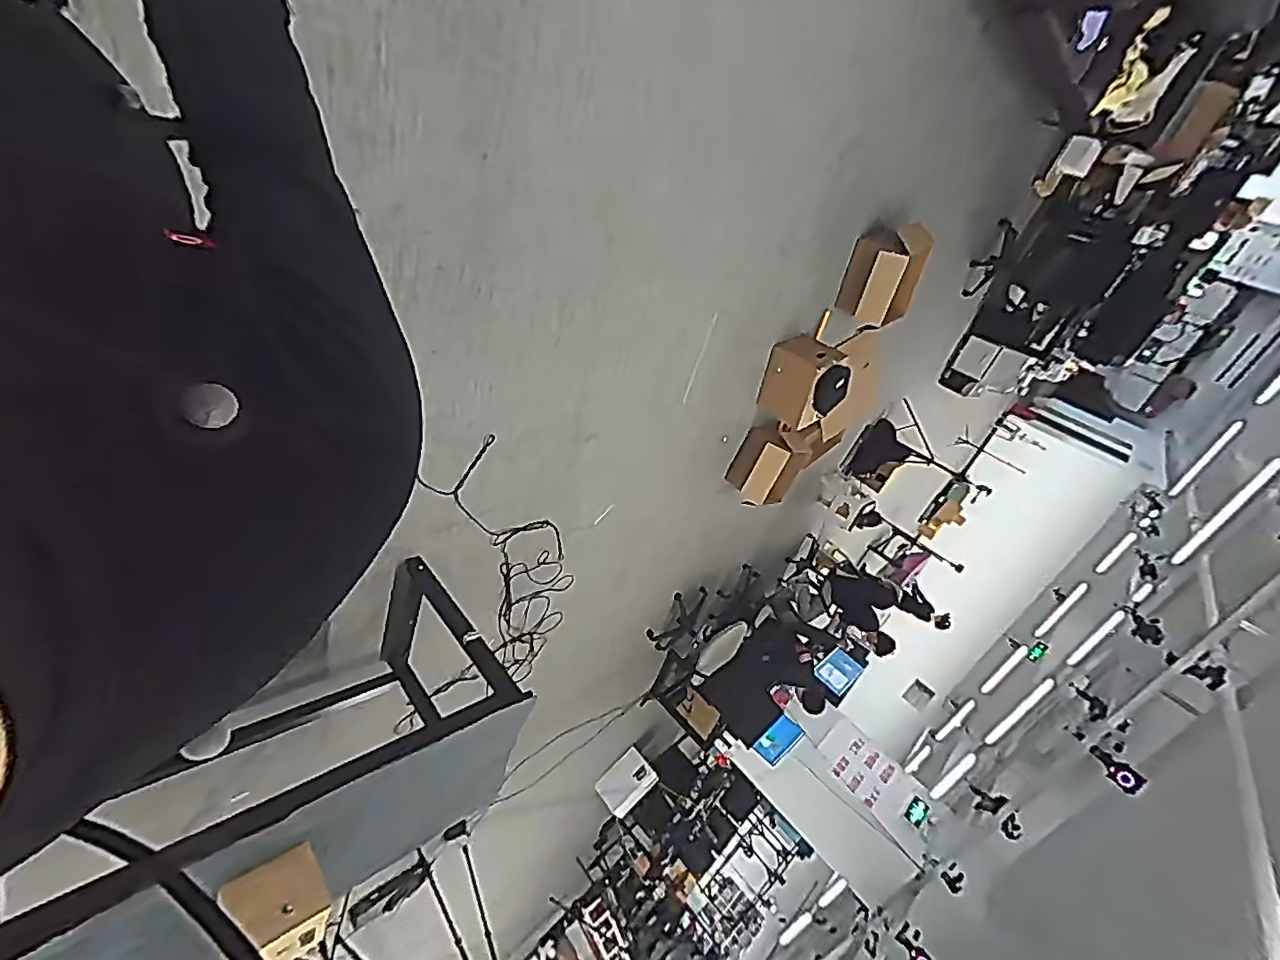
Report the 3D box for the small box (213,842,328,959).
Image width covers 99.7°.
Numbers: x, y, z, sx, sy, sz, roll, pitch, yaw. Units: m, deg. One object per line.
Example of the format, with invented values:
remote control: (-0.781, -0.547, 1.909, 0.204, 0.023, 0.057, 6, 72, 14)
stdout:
small box: (-0.847, 0.984, 1.238, 0.179, 0.176, 0.168, -7, 129, -48)
